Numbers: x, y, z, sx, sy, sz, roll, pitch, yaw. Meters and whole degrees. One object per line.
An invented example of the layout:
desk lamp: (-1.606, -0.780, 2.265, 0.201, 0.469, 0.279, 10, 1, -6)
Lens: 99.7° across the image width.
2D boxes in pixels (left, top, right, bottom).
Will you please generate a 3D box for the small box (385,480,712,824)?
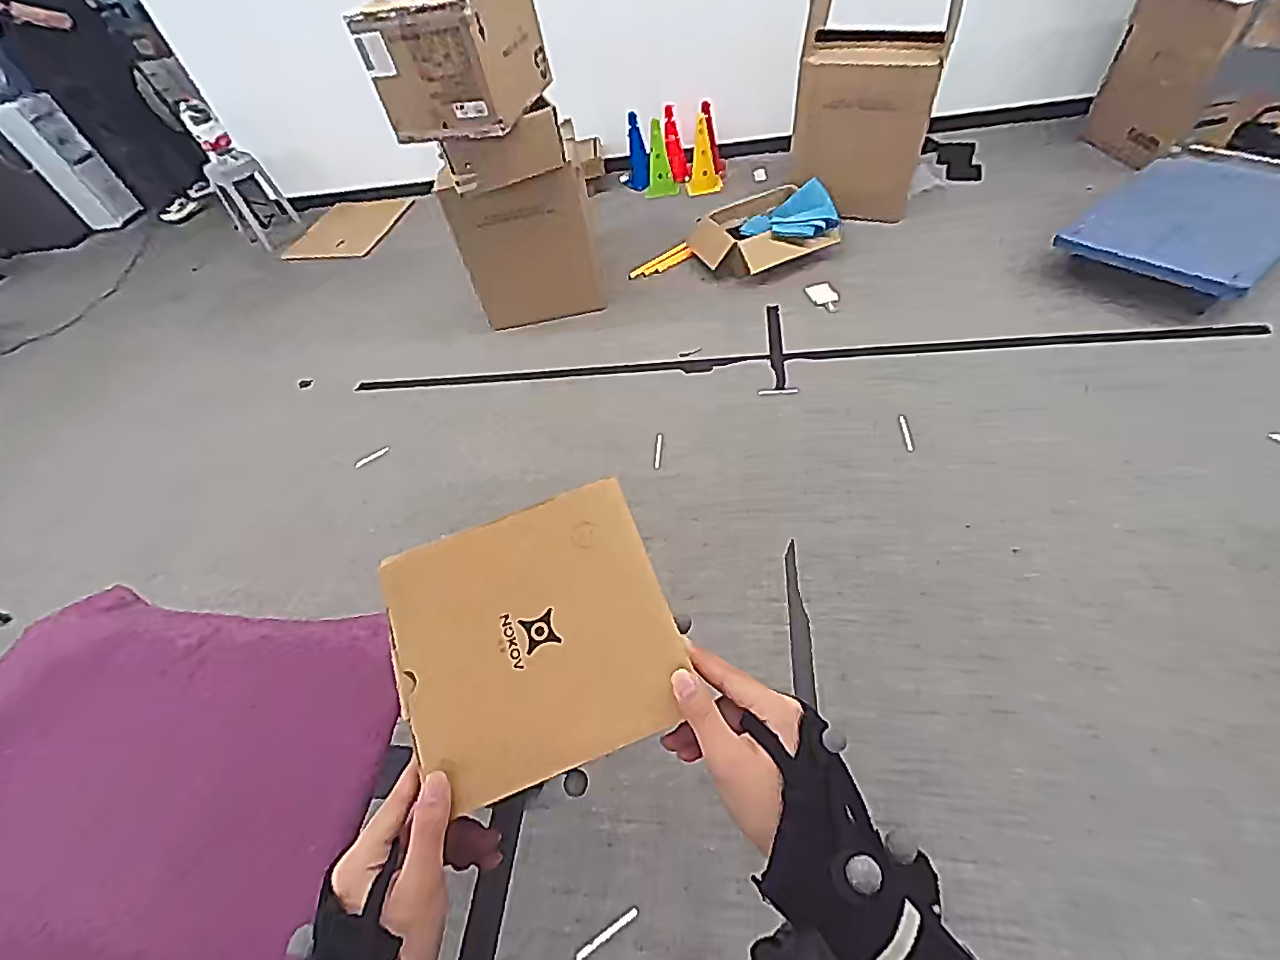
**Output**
small box: (-0.060, 0.127, 0.417, 0.179, 0.176, 0.168, -21, 68, -4)
